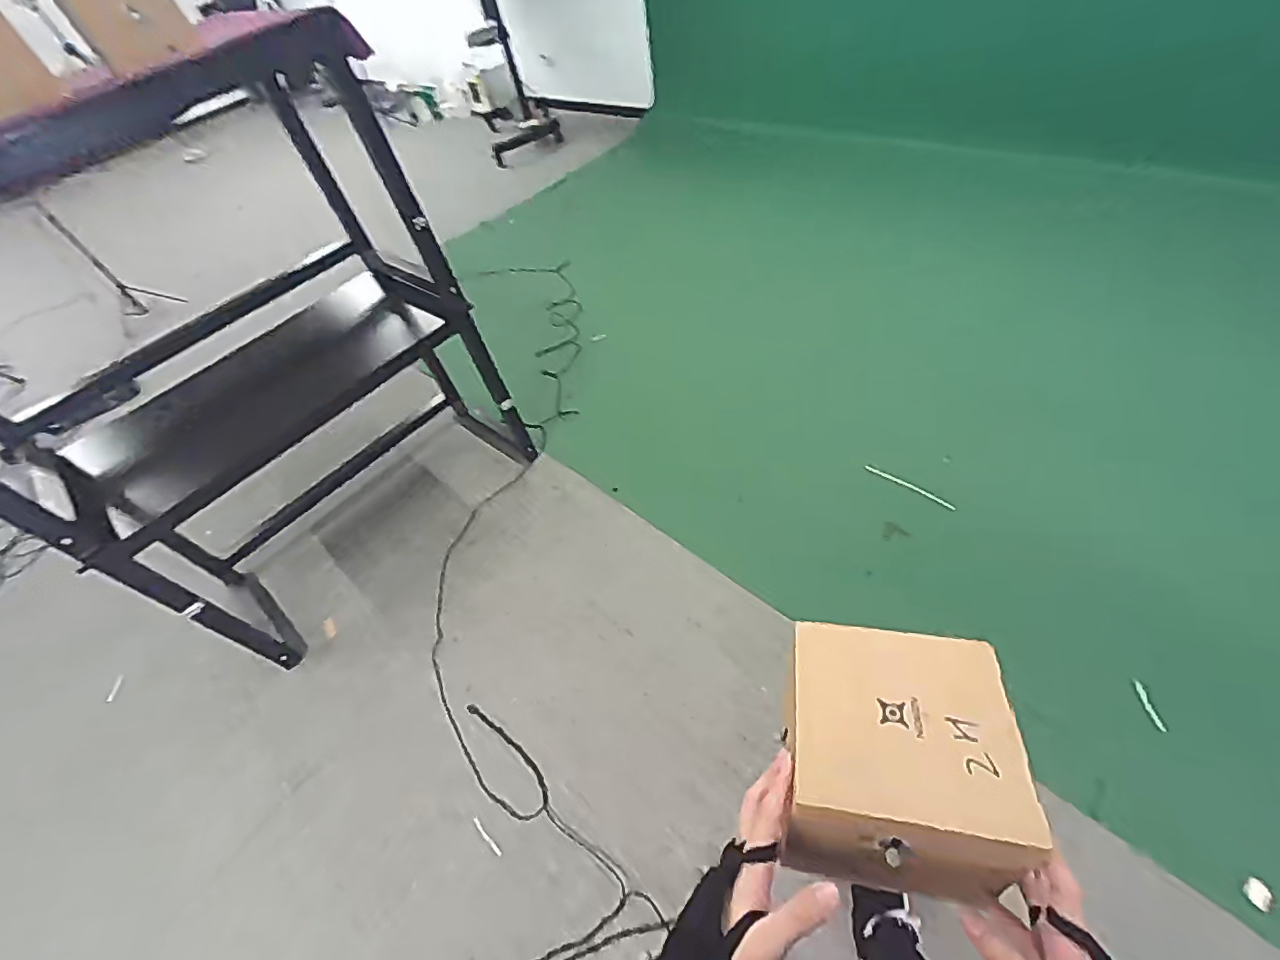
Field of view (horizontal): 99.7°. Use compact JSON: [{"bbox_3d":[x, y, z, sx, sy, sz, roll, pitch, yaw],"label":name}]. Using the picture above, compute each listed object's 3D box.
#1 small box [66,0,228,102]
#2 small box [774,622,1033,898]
[{"bbox_3d":[-0.981,-0.887,1.086,0.179,0.176,0.168,33,64,33],"label":"small box"},{"bbox_3d":[0.220,0.259,0.508,0.179,0.176,0.168,4,40,13],"label":"small box"}]
